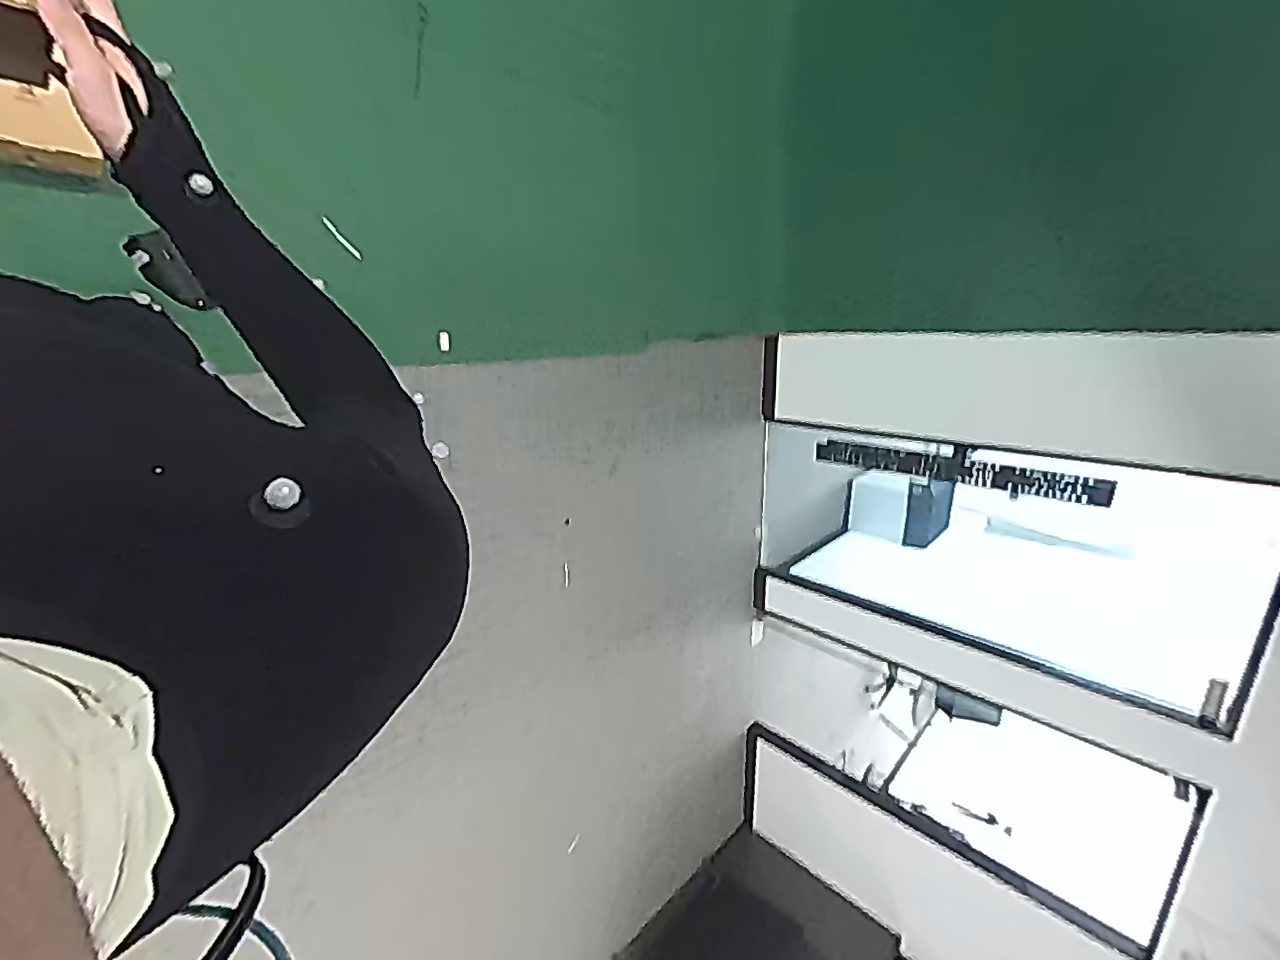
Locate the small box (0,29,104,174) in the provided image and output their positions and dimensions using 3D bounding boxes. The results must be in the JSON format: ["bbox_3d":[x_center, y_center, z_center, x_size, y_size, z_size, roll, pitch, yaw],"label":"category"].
[{"bbox_3d":[-1.109,-0.682,0.981,0.168,0.176,0.179,-13,111,-44],"label":"small box"}]
